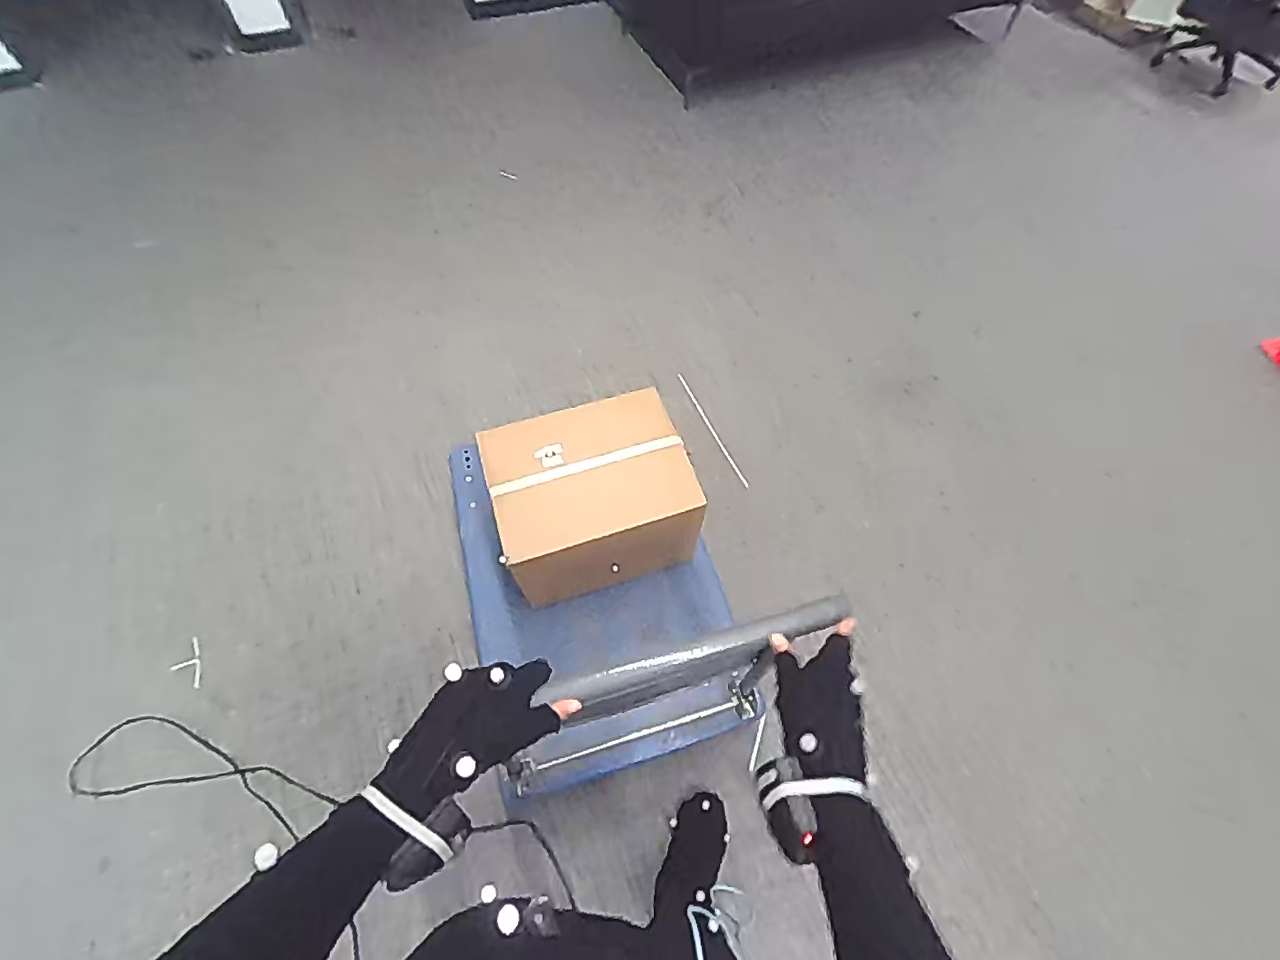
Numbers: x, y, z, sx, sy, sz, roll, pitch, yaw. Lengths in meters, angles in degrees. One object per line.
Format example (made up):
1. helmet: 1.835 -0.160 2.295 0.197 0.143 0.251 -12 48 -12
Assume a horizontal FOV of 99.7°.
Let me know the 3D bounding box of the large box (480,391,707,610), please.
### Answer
1. large box: -0.103 0.056 1.239 0.408 0.320 0.320 -18 62 -10
